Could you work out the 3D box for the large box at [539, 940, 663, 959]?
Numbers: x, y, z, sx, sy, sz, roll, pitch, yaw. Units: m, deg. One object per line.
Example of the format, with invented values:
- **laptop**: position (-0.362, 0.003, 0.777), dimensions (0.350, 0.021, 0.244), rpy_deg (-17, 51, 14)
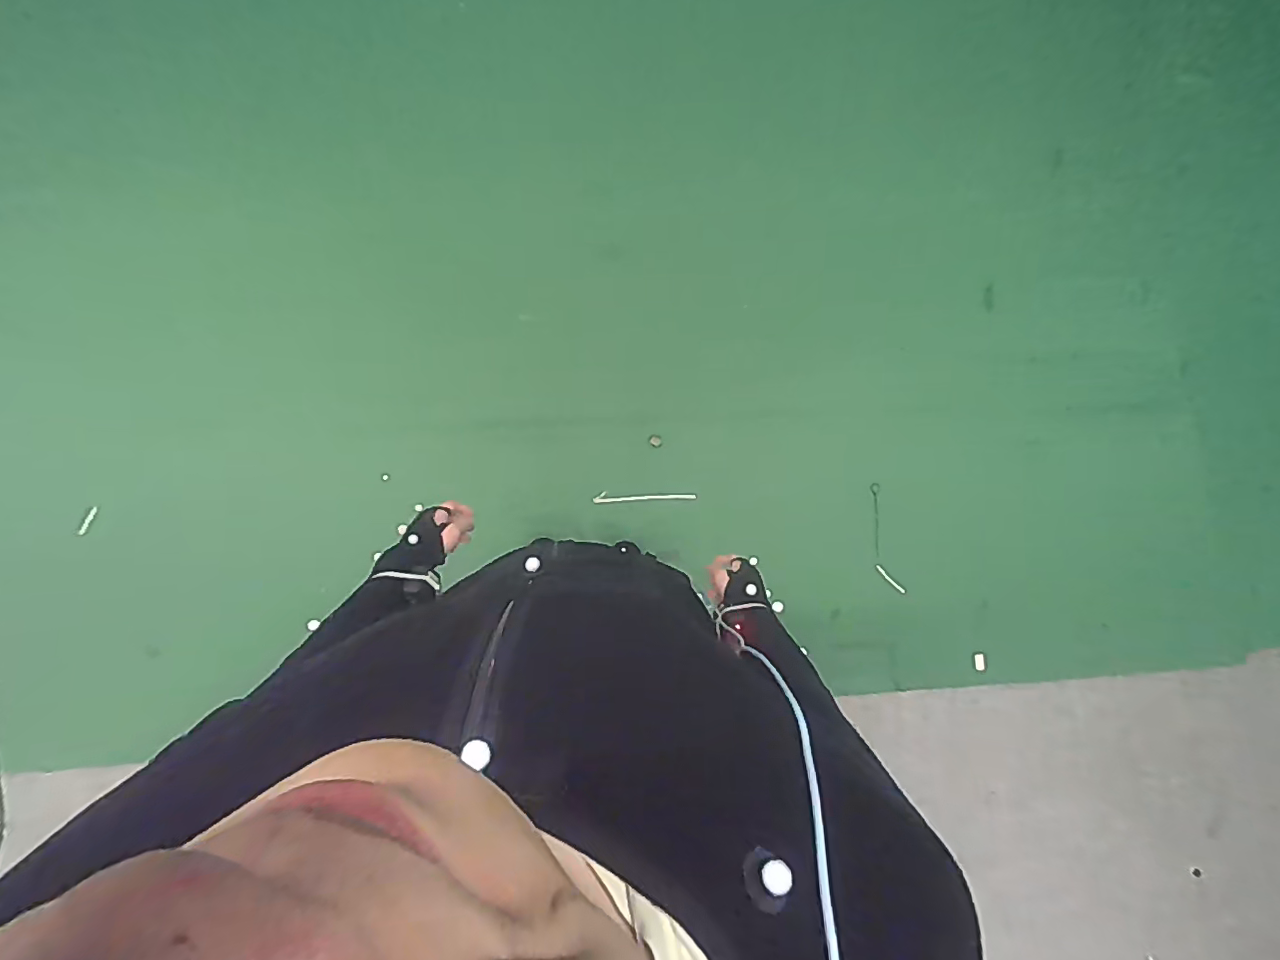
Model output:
- **large box**: position (-0.115, 1.456, 1.360), dimensions (0.408, 0.320, 0.320), rpy_deg (-5, 84, -5)
